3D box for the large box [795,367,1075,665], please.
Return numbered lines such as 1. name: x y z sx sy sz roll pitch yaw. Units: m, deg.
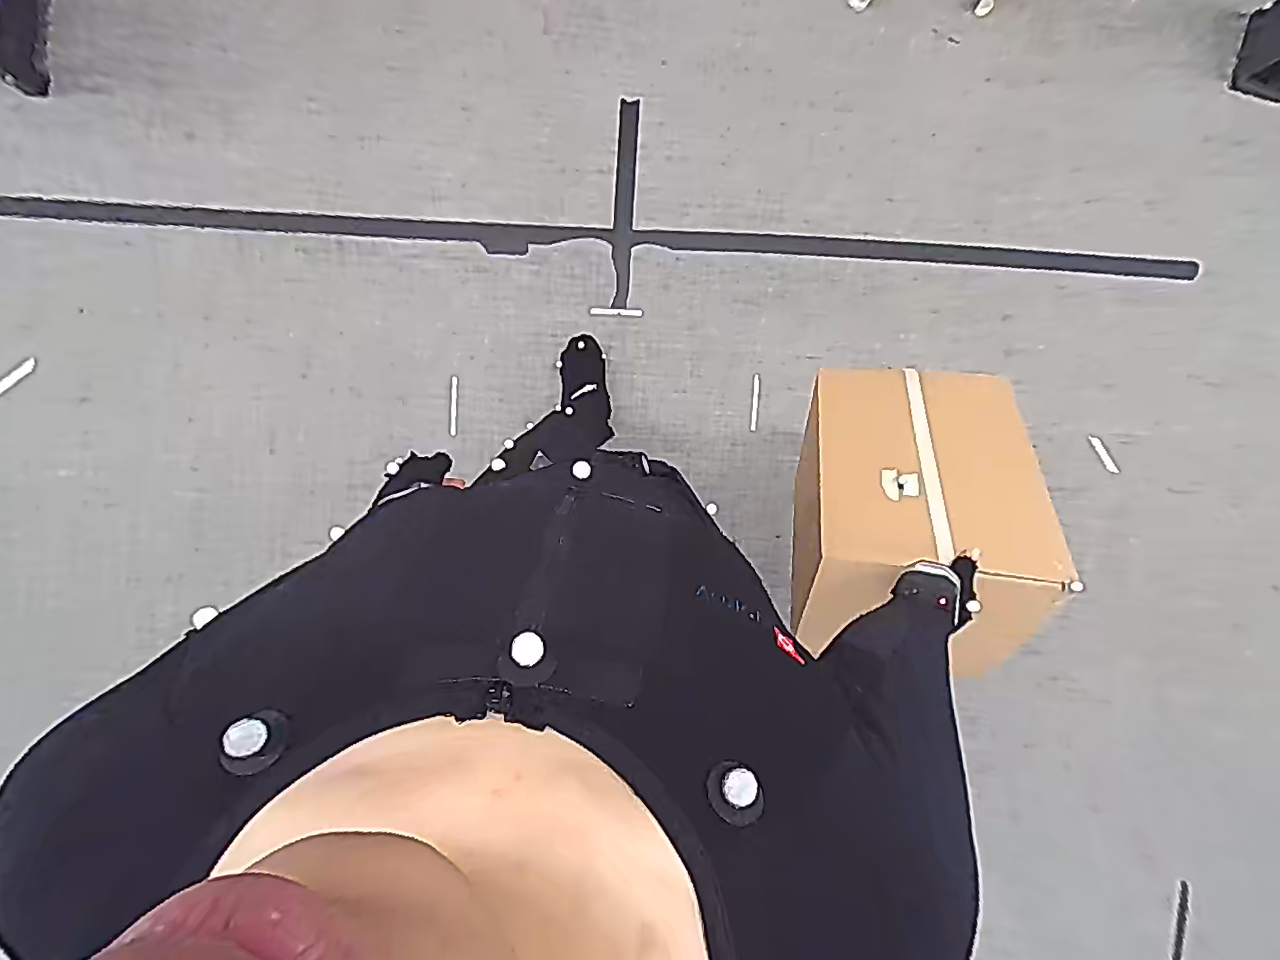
1. large box: 0.454 0.057 0.952 0.320 0.320 0.408 6 52 11
